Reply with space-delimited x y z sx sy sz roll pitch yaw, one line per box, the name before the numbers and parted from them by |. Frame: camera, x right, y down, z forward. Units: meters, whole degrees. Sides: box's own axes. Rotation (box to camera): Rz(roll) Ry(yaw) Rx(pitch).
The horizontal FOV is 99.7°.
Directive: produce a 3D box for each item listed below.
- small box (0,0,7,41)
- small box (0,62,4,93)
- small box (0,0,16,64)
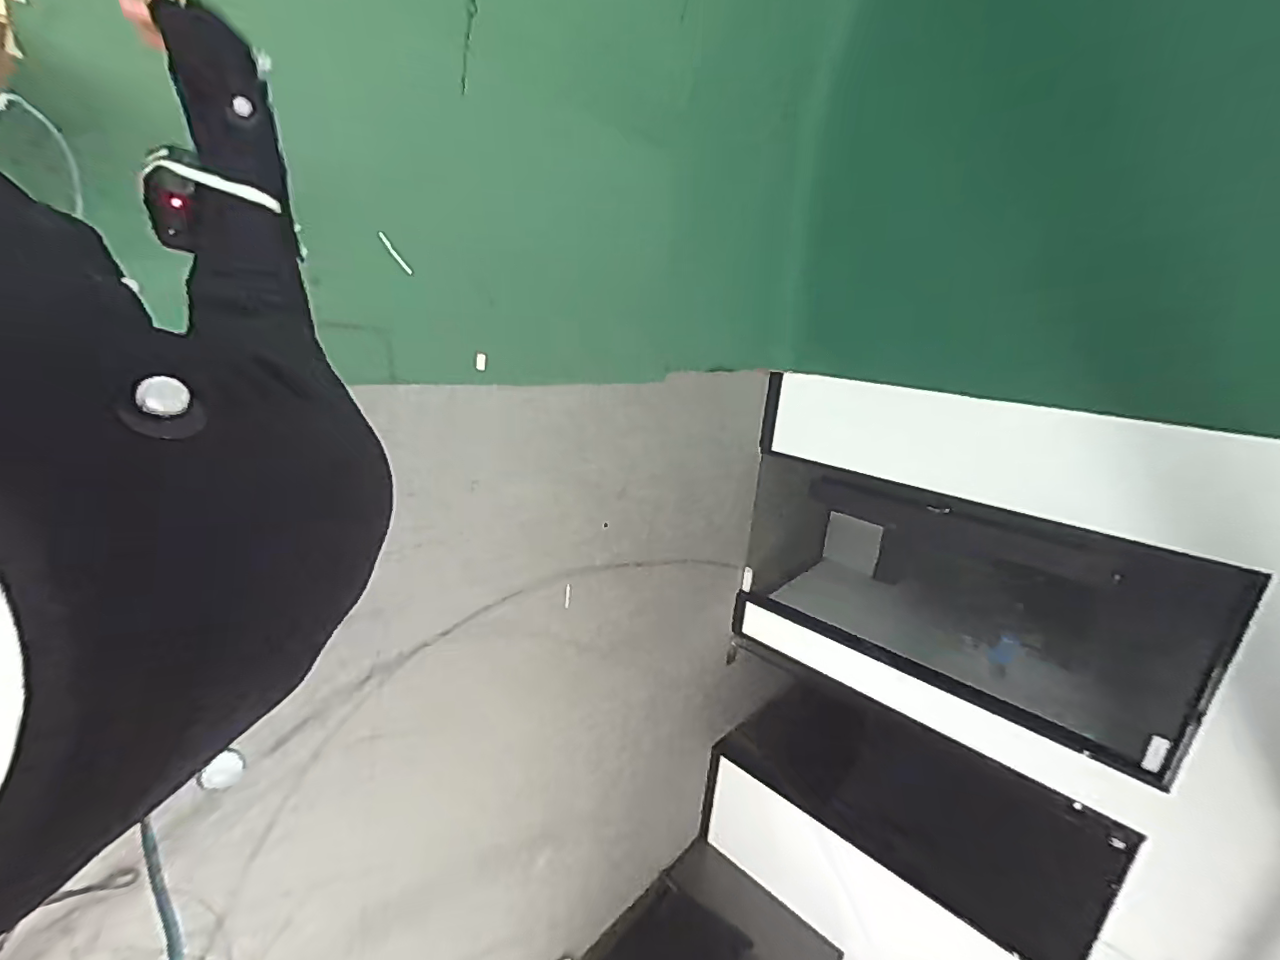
small box | -0.681 -0.519 0.458 0.168 0.176 0.179 -12 115 -47
small box | -0.927 -0.600 0.662 0.179 0.176 0.168 -12 115 -48
small box | -0.798 -0.567 0.562 0.179 0.176 0.168 -10 111 -49
